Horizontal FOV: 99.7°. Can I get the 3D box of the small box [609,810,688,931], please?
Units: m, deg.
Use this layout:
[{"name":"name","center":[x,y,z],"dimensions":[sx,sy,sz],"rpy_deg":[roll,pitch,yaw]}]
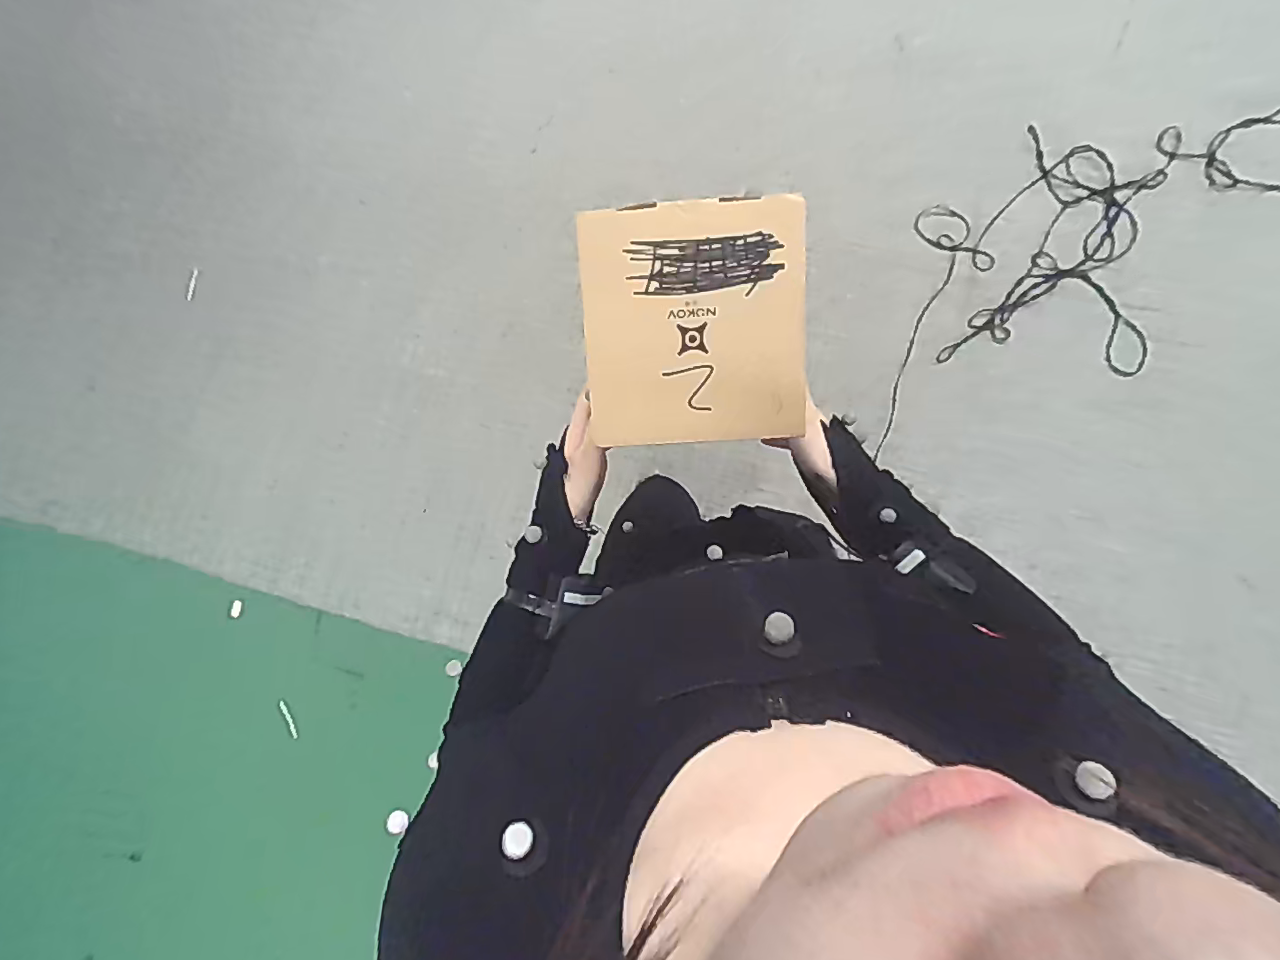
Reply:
[{"name":"small box","center":[0.025,1.002,1.406],"dimensions":[0.168,0.176,0.179],"rpy_deg":[13,90,6]}]
